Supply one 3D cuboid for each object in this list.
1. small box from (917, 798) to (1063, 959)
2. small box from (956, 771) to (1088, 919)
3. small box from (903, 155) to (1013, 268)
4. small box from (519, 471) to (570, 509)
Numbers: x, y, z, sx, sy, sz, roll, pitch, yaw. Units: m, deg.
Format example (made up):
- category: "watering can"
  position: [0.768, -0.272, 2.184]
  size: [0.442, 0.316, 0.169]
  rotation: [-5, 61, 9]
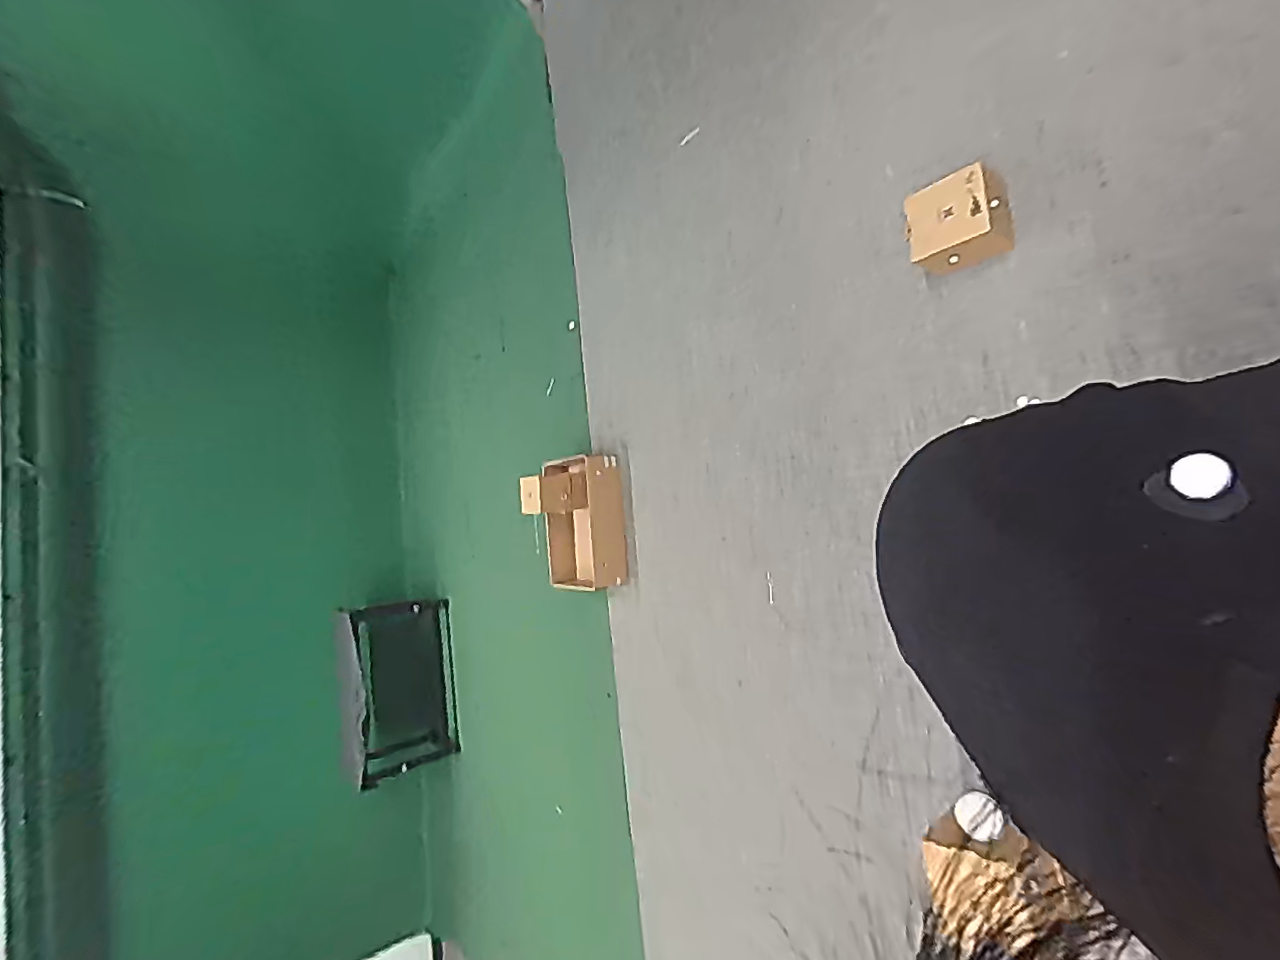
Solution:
- category: "small box"
  position: [0.653, 0.732, 1.009]
  size: [0.168, 0.176, 0.179]
  rotation: [-19, 76, 49]
- category: "small box"
  position: [0.783, 0.731, 1.107]
  size: [0.168, 0.176, 0.179]
  rotation: [-18, 77, 49]
- category: "small box"
  position: [0.774, -0.640, 1.318]
  size: [0.179, 0.176, 0.168]
  rotation: [-10, 84, 51]
- category: "small box"
  position: [-0.439, 0.045, 2.477]
  size: [0.179, 0.176, 0.168]
  rotation: [-5, 88, 48]
